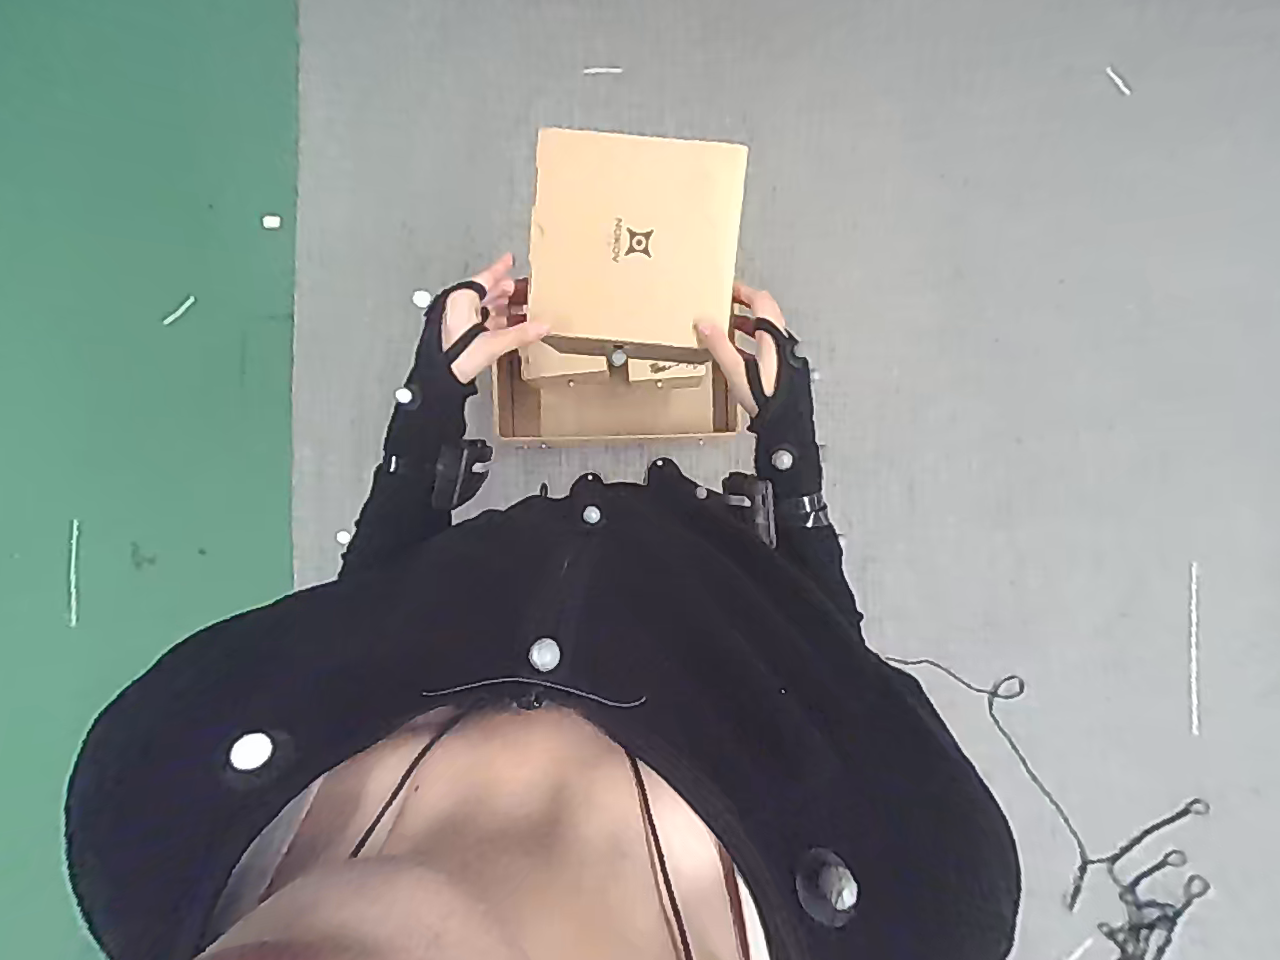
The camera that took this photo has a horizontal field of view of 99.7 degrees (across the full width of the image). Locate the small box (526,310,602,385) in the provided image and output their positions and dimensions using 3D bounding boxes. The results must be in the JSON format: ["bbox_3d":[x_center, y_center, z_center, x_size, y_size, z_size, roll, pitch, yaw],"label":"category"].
[{"bbox_3d":[-0.186,-0.343,1.402,0.179,0.176,0.168,-4,92,1],"label":"small box"}]

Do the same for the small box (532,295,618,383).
[{"bbox_3d":[-0.142,-0.322,1.238,0.168,0.176,0.179,-6,92,0],"label":"small box"}]

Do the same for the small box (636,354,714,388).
[{"bbox_3d":[0.076,-0.311,1.225,0.168,0.176,0.179,-3,91,4],"label":"small box"}]

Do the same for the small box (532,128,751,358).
[{"bbox_3d":[0.002,-0.214,0.534,0.179,0.176,0.168,5,98,3],"label":"small box"}]
